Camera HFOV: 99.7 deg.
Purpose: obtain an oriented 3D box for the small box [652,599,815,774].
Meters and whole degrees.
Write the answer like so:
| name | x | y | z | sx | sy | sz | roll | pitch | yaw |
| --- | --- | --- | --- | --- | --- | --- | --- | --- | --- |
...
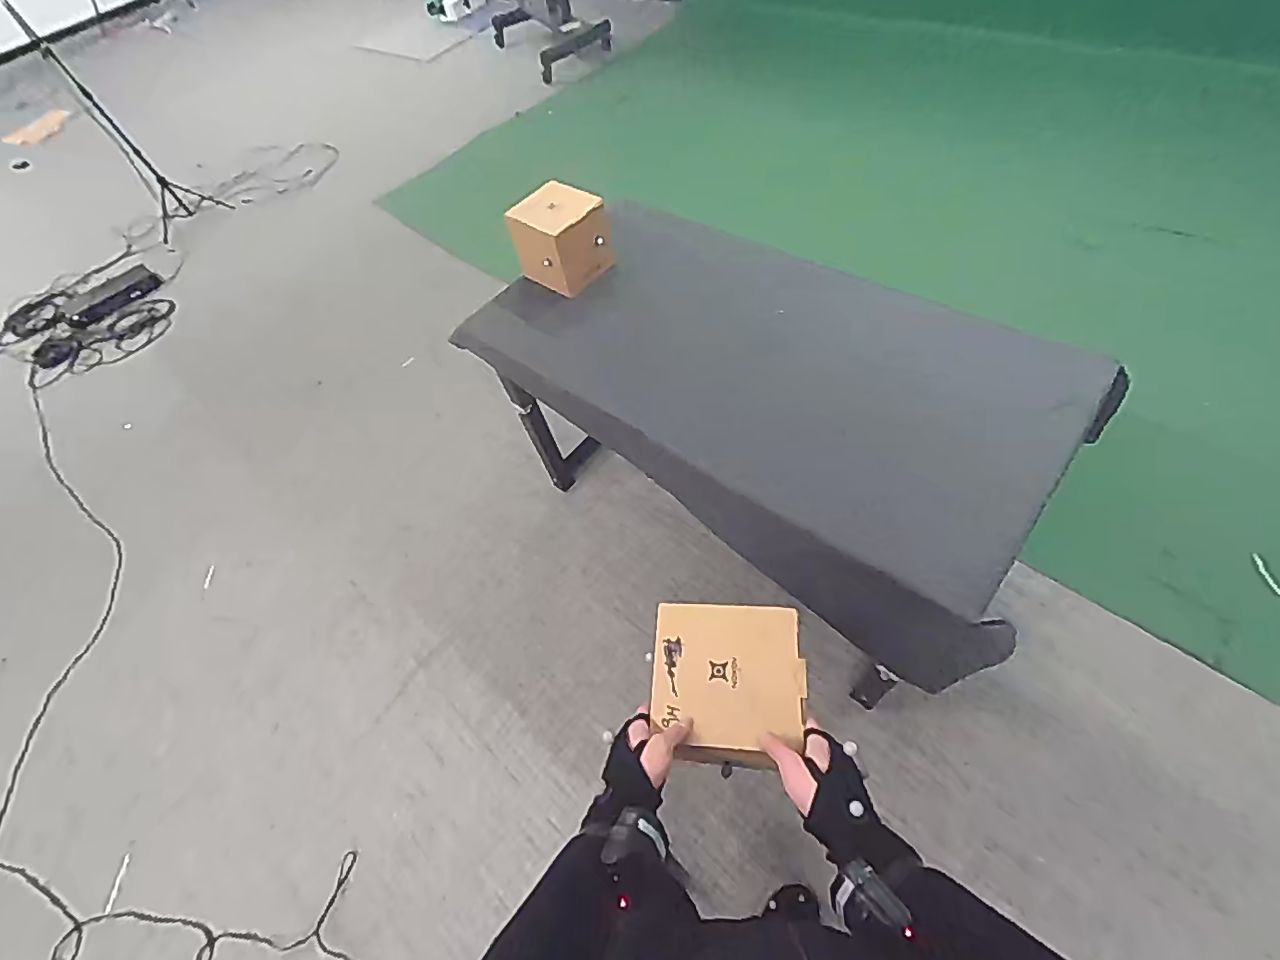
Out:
| name | x | y | z | sx | sy | sz | roll | pitch | yaw |
| --- | --- | --- | --- | --- | --- | --- | --- | --- | --- |
| small box | 0.112 | 0.265 | 0.685 | 0.179 | 0.176 | 0.168 | 2 | 55 | 7 |

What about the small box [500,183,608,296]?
| name | x | y | z | sx | sy | sz | roll | pitch | yaw |
| --- | --- | --- | --- | --- | --- | --- | --- | --- | --- |
| small box | -0.195 | -0.566 | 1.284 | 0.179 | 0.176 | 0.168 | 32 | 63 | 26 |
